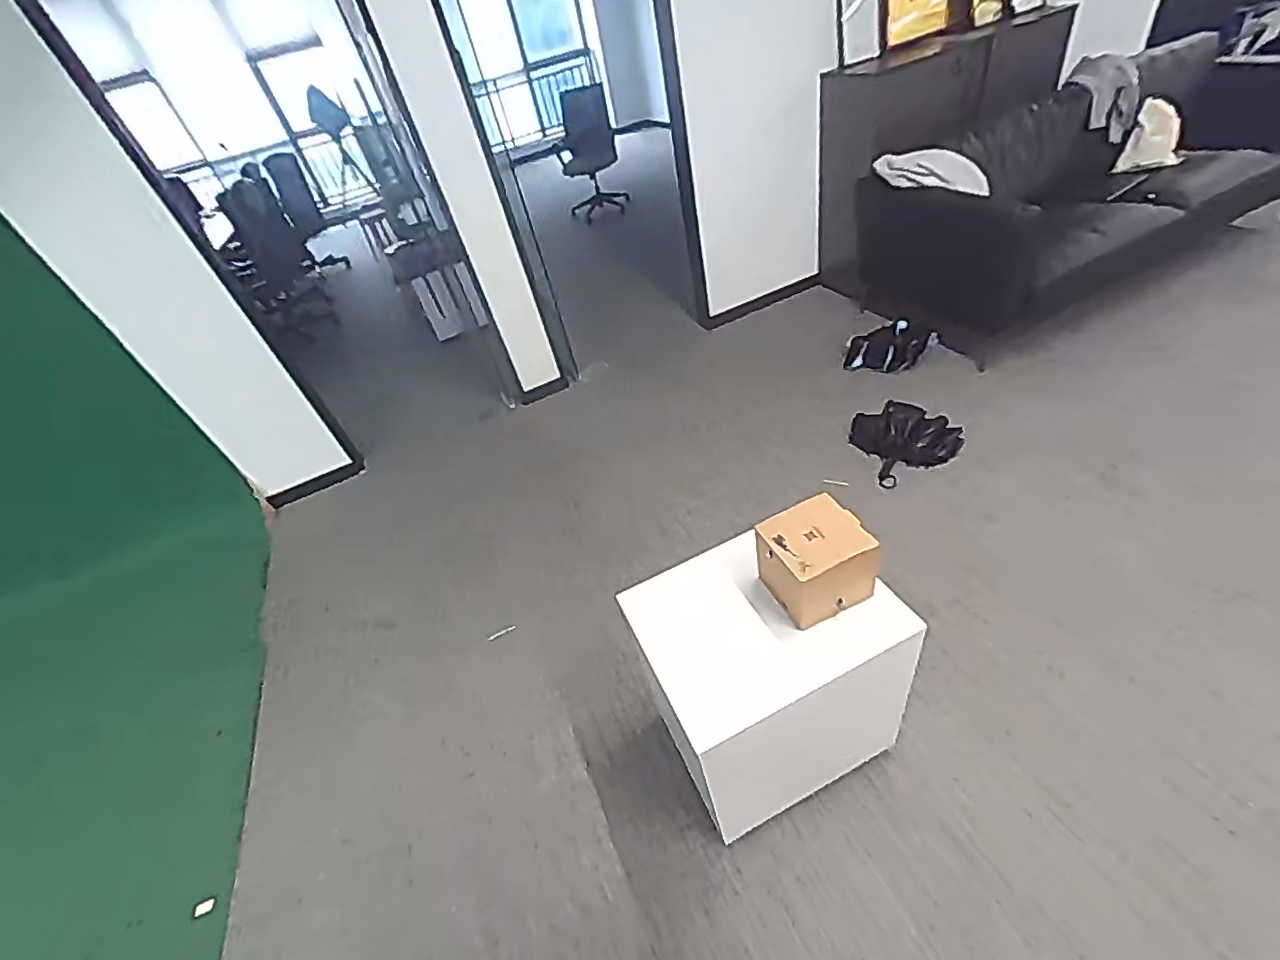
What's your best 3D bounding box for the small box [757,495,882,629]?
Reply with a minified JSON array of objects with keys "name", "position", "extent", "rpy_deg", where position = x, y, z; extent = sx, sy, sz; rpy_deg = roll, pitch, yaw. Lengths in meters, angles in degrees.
[{"name":"small box","position":[0.353,0.166,1.094],"extent":[0.179,0.176,0.168],"rpy_deg":[-22,42,-10]}]
